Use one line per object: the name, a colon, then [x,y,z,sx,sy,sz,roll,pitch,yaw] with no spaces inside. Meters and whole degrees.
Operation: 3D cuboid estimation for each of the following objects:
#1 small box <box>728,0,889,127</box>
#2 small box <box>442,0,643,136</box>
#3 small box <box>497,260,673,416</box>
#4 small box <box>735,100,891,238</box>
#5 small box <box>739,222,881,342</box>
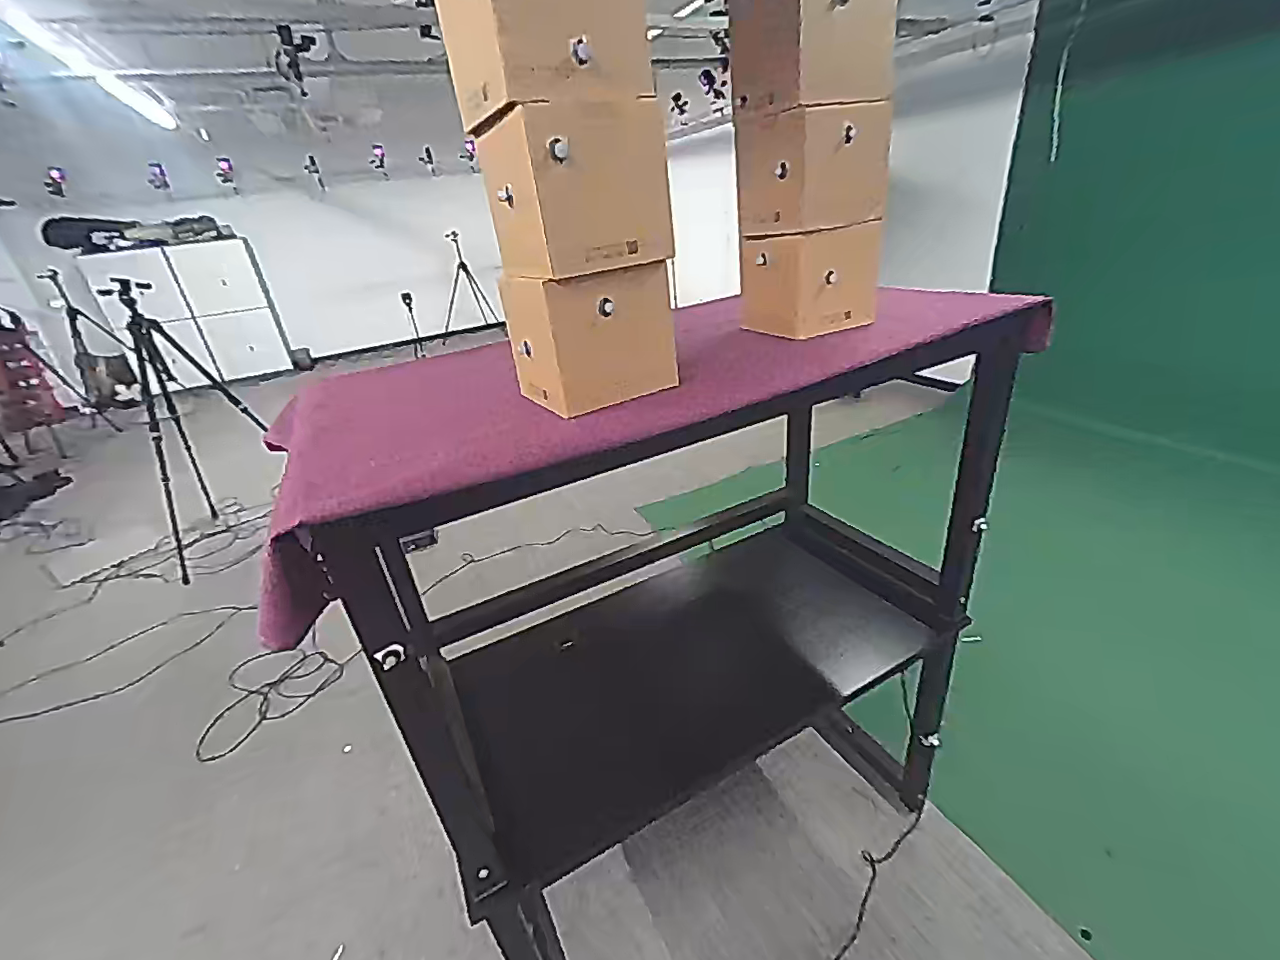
small box: [0.253,-0.640,0.811,0.179,0.176,0.168,-17,28,-20]
small box: [-0.108,-0.491,0.597,0.179,0.176,0.168,-21,28,-26]
small box: [-0.071,-0.197,0.736,0.179,0.176,0.168,-20,29,-25]
small box: [0.275,-0.489,0.872,0.179,0.176,0.168,-18,28,-21]
small box: [0.294,-0.347,0.950,0.168,0.176,0.179,-17,27,-18]
